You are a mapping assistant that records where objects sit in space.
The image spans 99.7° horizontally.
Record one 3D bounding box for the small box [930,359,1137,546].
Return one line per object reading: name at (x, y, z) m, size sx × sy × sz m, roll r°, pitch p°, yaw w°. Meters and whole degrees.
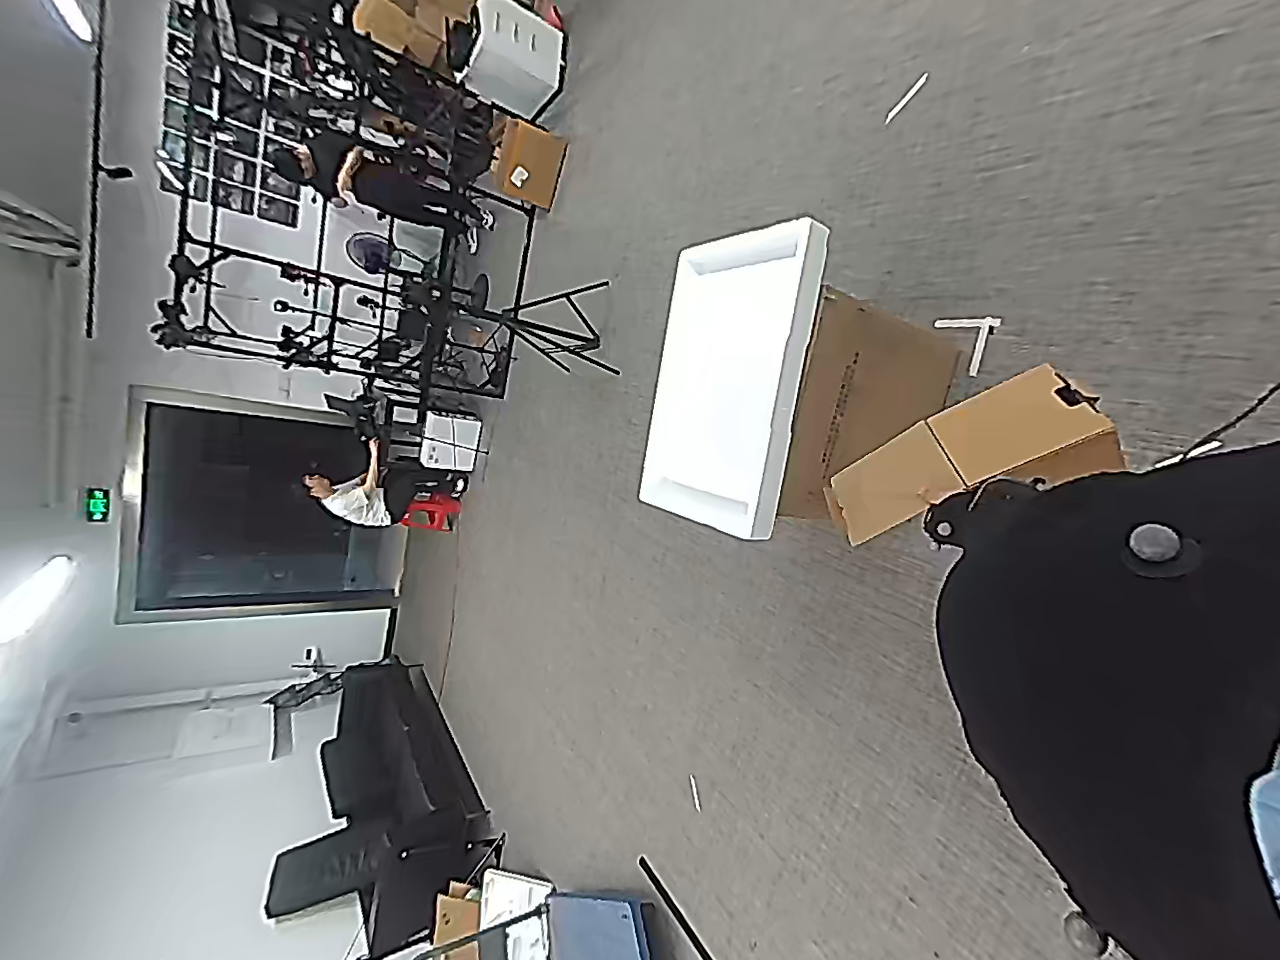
small box at (0.561, -0.032, 0.781) m, size 0.179 × 0.176 × 0.168 m, roll -28°, pitch 33°, yaw 26°
